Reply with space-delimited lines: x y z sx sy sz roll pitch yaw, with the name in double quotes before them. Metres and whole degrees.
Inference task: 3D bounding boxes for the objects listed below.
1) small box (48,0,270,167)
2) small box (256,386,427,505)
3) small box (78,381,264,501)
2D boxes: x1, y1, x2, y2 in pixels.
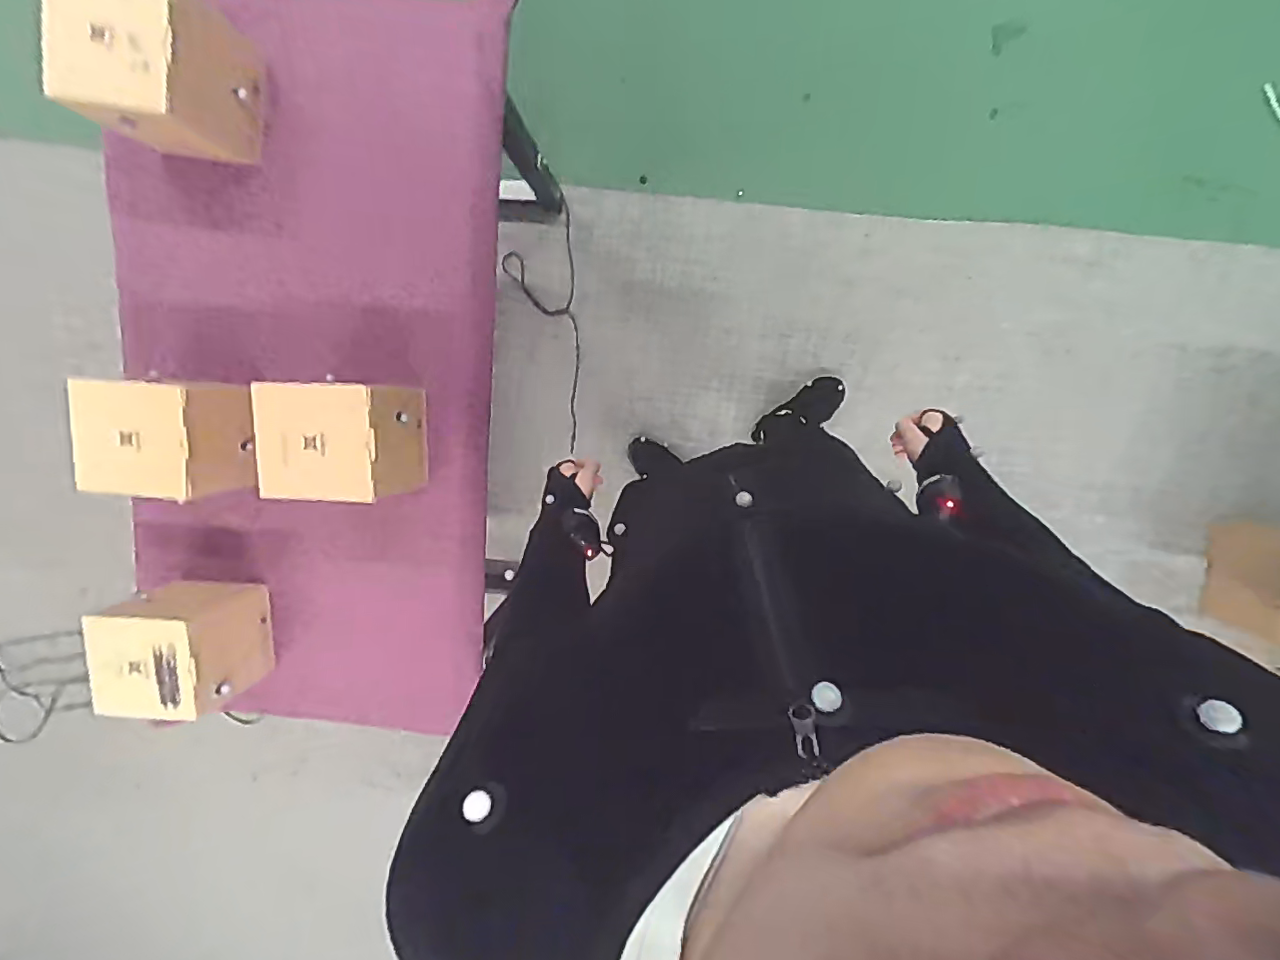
"small box" -0.682 -0.578 0.781 0.179 0.176 0.168 10 100 2
"small box" -0.449 -0.060 0.843 0.179 0.176 0.168 2 98 6
"small box" -0.727 -0.067 0.866 0.179 0.176 0.168 4 99 3
